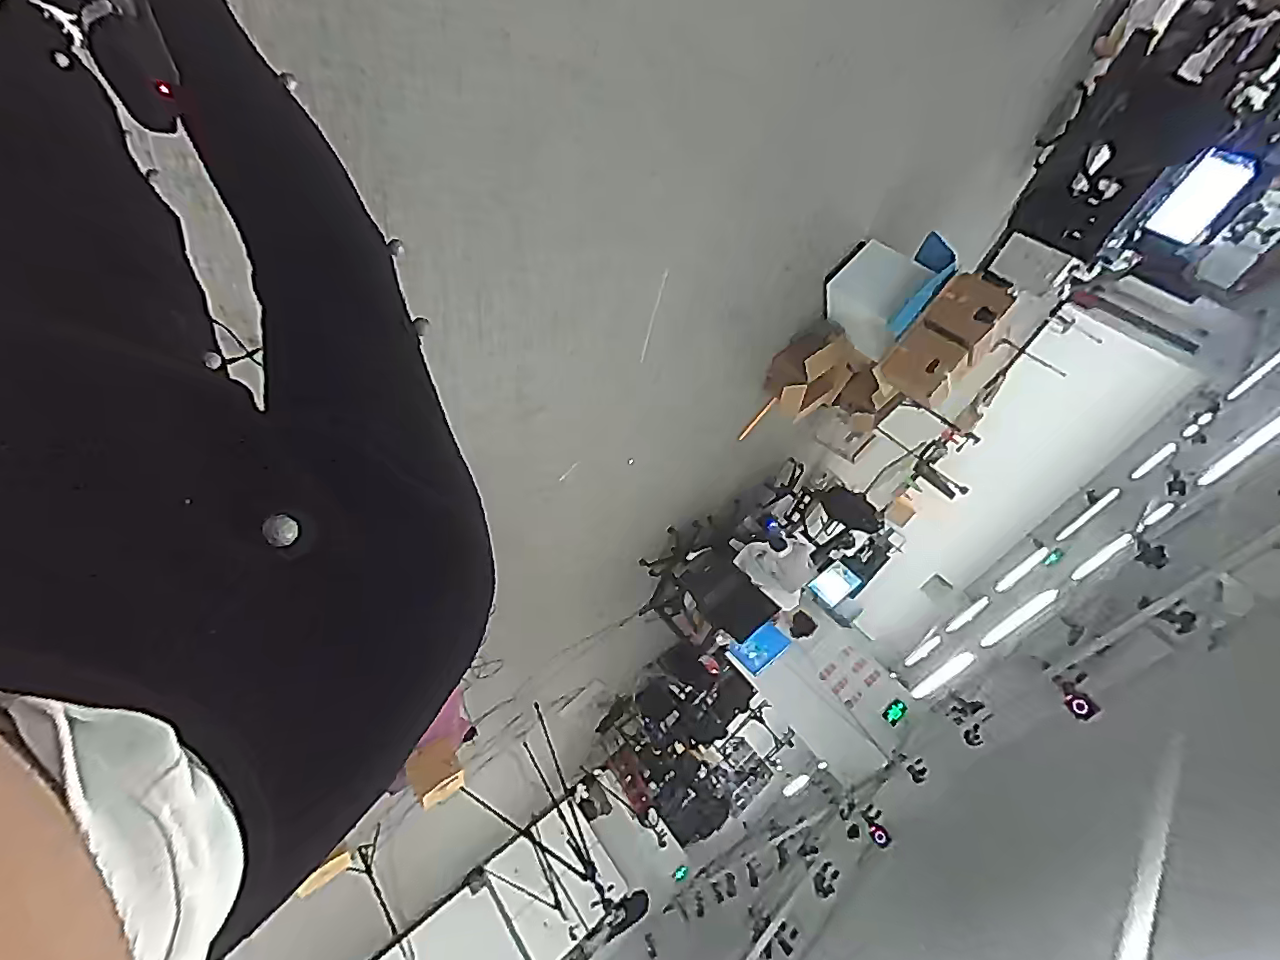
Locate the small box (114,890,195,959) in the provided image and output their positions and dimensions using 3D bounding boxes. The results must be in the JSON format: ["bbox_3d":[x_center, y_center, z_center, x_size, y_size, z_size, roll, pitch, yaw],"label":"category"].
[{"bbox_3d":[-1.500,1.394,1.642,0.168,0.176,0.179,-26,149,-37],"label":"small box"}]

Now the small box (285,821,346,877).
[{"bbox_3d":[-1.160,1.250,1.911,0.168,0.176,0.179,-20,144,-37],"label":"small box"}]
